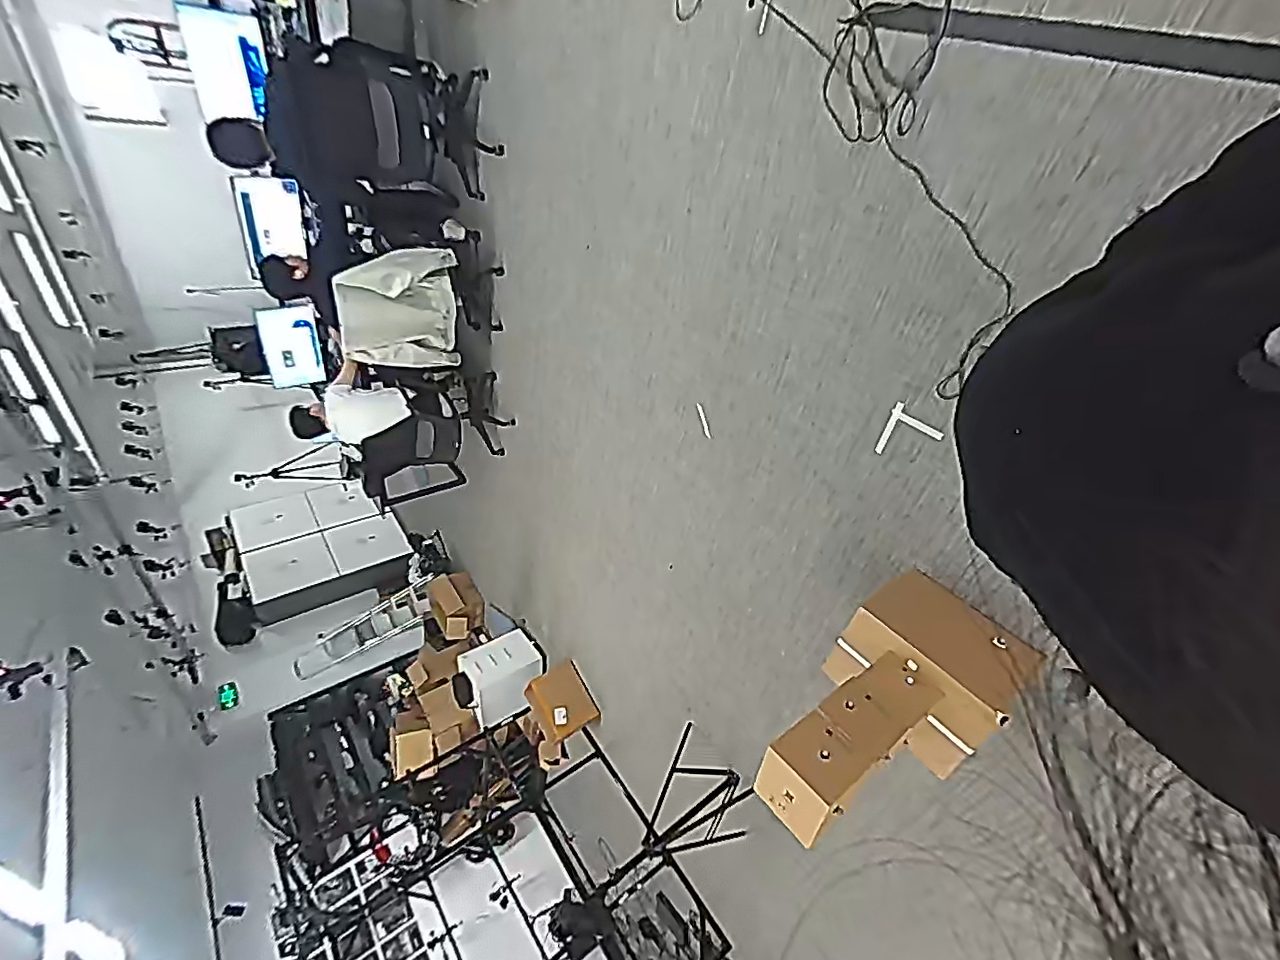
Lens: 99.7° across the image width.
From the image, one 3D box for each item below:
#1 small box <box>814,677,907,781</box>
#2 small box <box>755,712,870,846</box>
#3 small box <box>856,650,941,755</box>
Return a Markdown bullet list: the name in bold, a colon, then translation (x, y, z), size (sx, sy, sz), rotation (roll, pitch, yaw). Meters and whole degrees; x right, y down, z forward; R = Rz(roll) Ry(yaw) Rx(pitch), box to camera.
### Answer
- **small box**: translation (0.521, 0.623, 1.326), size (0.168, 0.176, 0.179), rotation (41, 136, 38)
- **small box**: translation (0.395, 0.671, 1.232), size (0.168, 0.176, 0.179), rotation (38, 133, 41)
- **small box**: translation (0.650, 0.587, 1.418), size (0.168, 0.176, 0.179), rotation (41, 135, 36)
